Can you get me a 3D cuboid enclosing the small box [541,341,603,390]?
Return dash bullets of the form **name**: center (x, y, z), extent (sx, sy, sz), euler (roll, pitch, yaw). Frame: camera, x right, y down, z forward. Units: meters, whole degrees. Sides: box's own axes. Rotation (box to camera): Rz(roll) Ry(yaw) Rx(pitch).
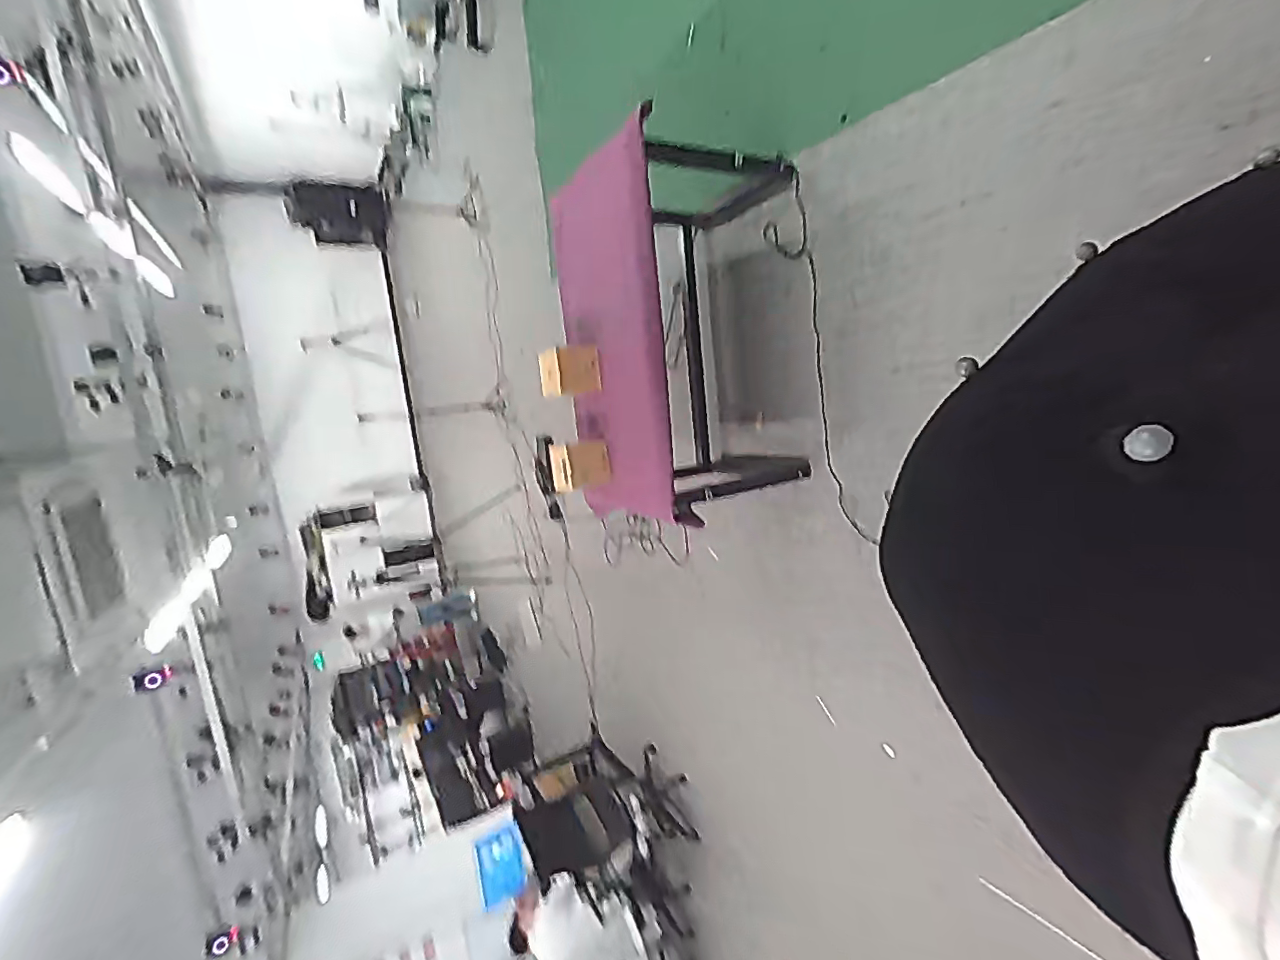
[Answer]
- **small box**: center (-0.255, -0.428, 2.034), extent (0.179, 0.176, 0.168), euler (8, 106, 58)
